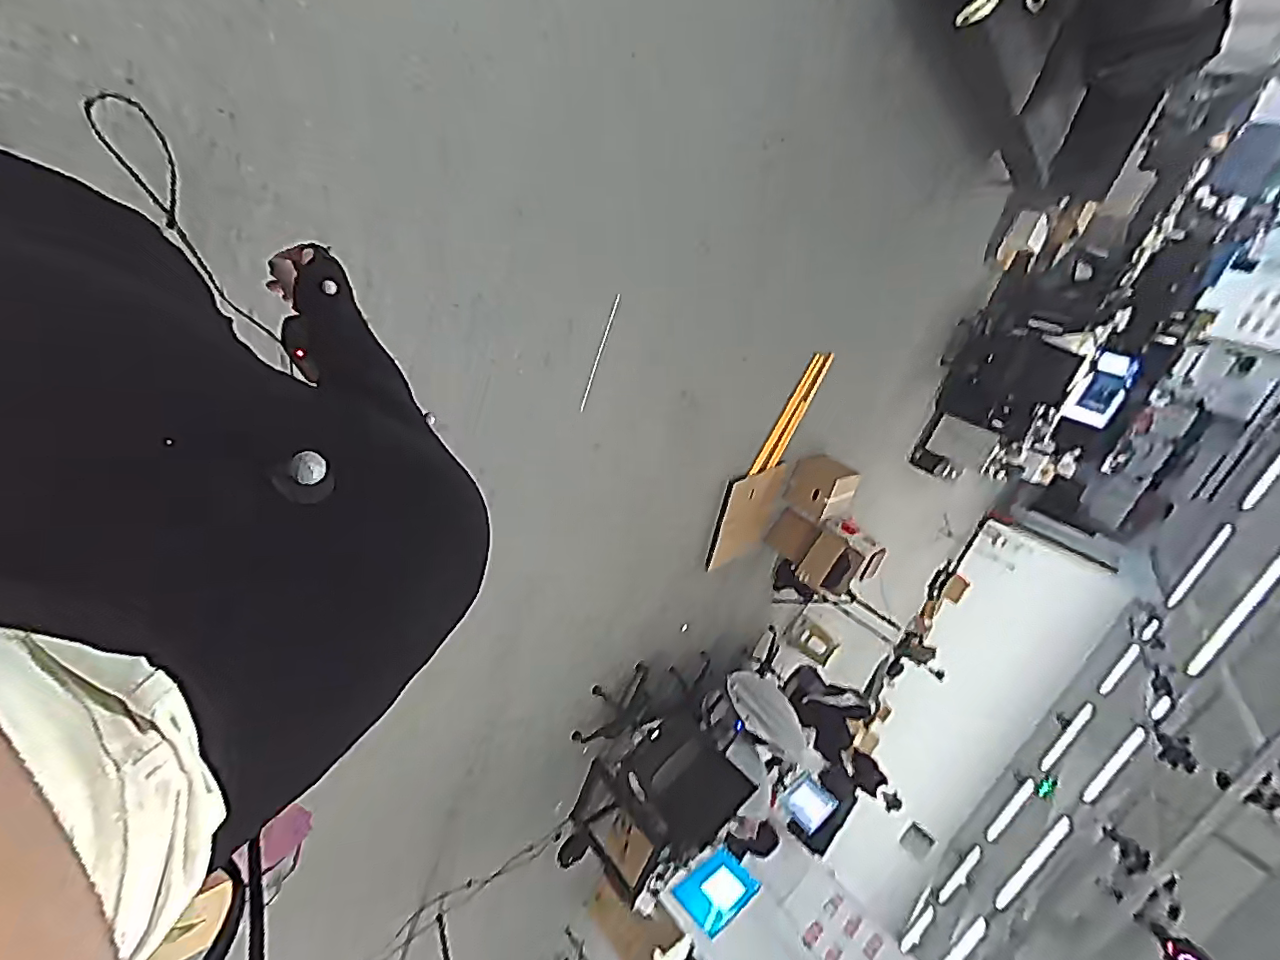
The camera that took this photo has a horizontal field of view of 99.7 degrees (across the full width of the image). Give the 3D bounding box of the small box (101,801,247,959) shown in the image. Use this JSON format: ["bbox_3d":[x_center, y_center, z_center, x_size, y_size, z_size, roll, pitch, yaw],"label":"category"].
[{"bbox_3d":[-0.834,0.727,0.969,0.179,0.176,0.168,-5,120,-47],"label":"small box"}]
